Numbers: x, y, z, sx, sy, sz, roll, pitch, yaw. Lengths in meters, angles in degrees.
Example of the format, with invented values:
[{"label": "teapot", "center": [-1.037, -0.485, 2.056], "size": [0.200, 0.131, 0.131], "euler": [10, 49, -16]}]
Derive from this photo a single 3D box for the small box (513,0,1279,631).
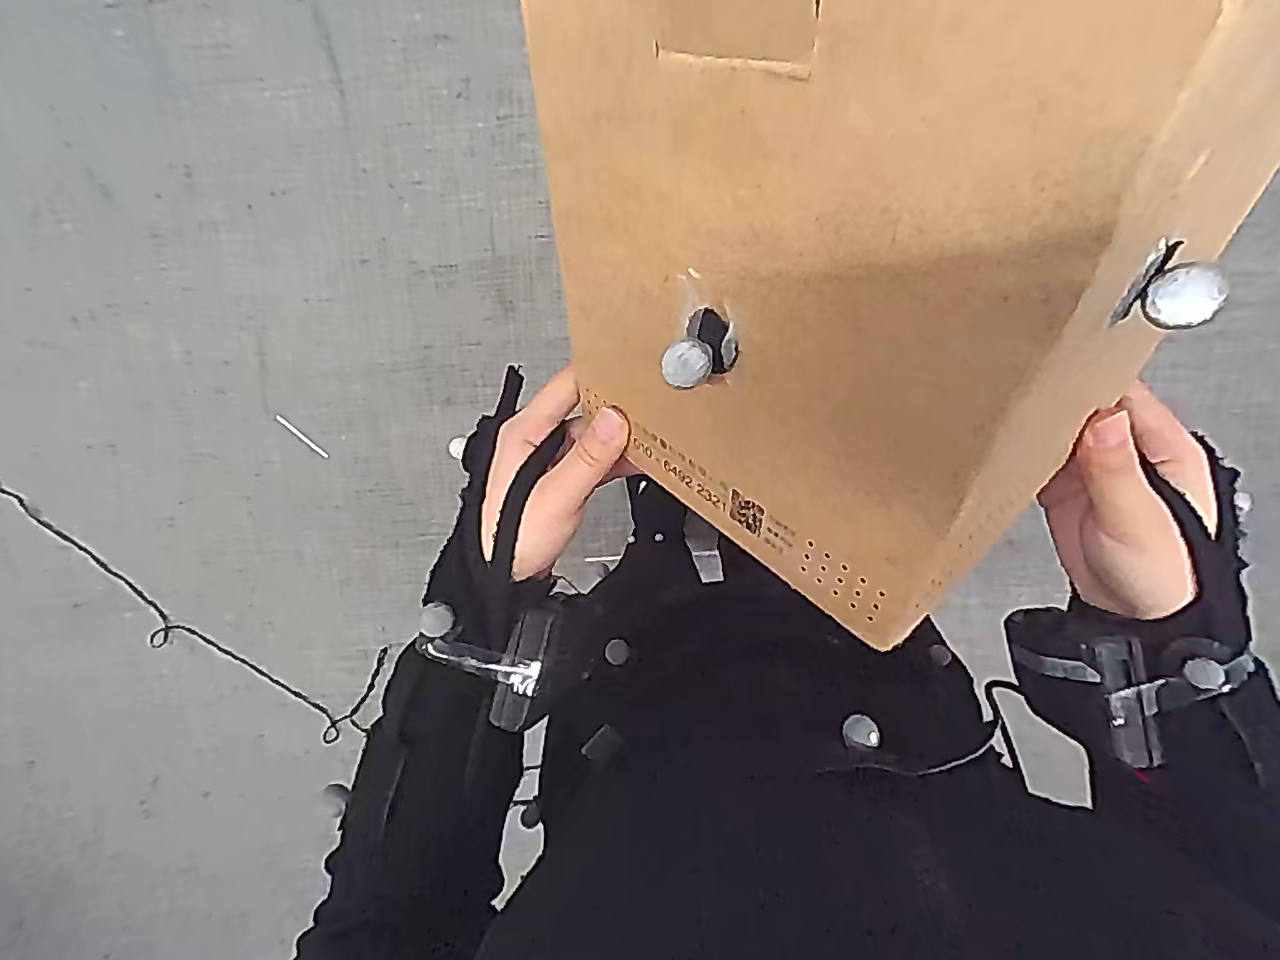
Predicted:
[{"label": "small box", "center": [0.085, -0.081, 0.197], "size": [0.179, 0.168, 0.176], "euler": [-32, 140, -25]}]
